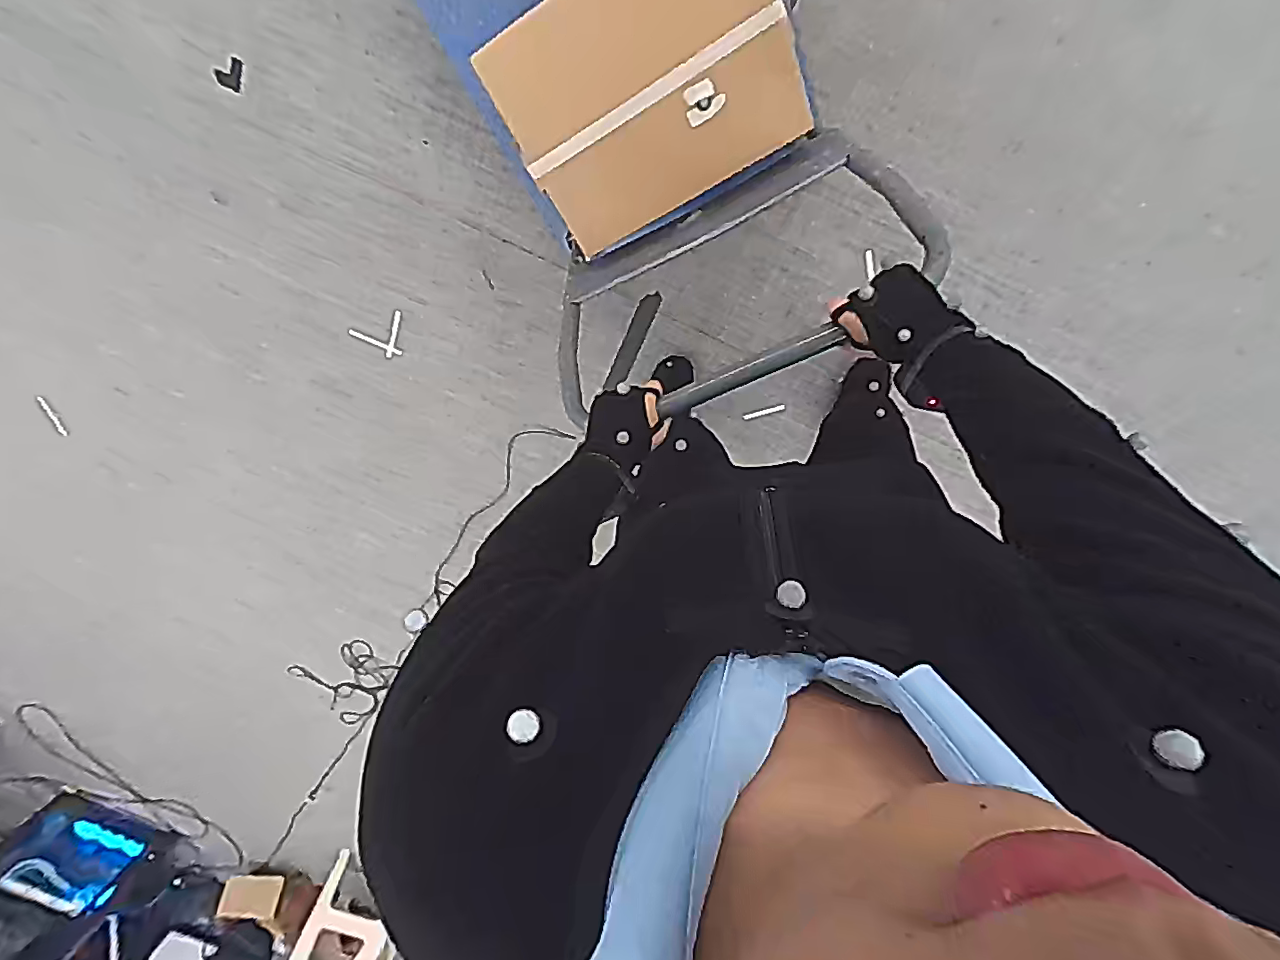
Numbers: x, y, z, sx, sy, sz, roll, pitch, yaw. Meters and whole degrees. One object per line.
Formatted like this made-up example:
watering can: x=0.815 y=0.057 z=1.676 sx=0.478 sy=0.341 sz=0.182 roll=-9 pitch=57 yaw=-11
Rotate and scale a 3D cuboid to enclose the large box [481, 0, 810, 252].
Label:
large box: x=0.009 y=-0.664 z=0.907 sx=0.408 sy=0.320 sz=0.320 roll=-24 pitch=127 yaw=17
